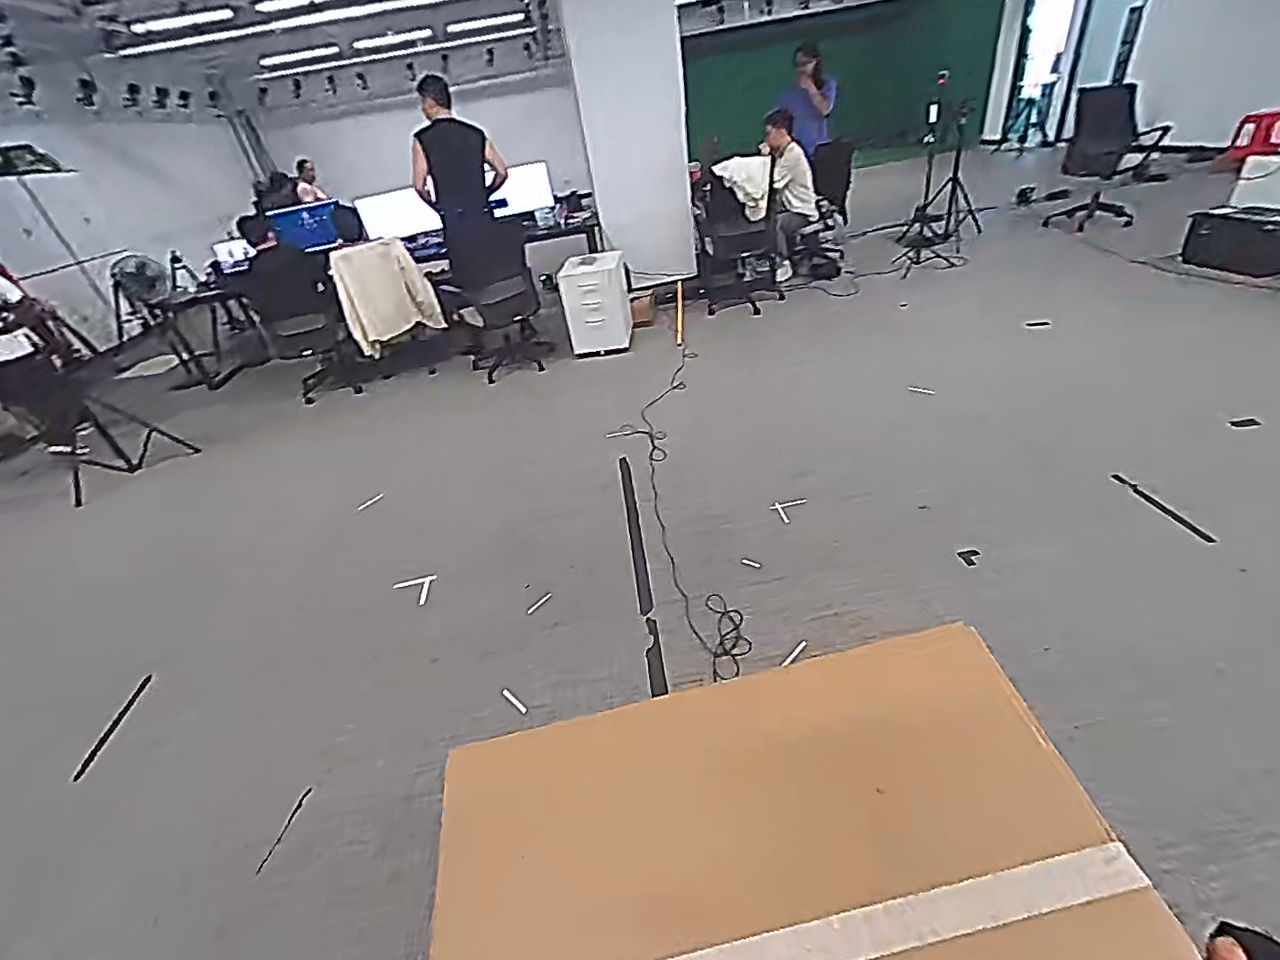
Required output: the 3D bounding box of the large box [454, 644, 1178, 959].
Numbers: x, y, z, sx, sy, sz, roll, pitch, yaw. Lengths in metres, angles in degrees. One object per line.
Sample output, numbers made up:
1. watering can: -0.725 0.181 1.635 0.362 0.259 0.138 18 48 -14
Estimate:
1. large box: 0.111 0.379 0.408 0.408 0.320 0.320 -14 43 1
